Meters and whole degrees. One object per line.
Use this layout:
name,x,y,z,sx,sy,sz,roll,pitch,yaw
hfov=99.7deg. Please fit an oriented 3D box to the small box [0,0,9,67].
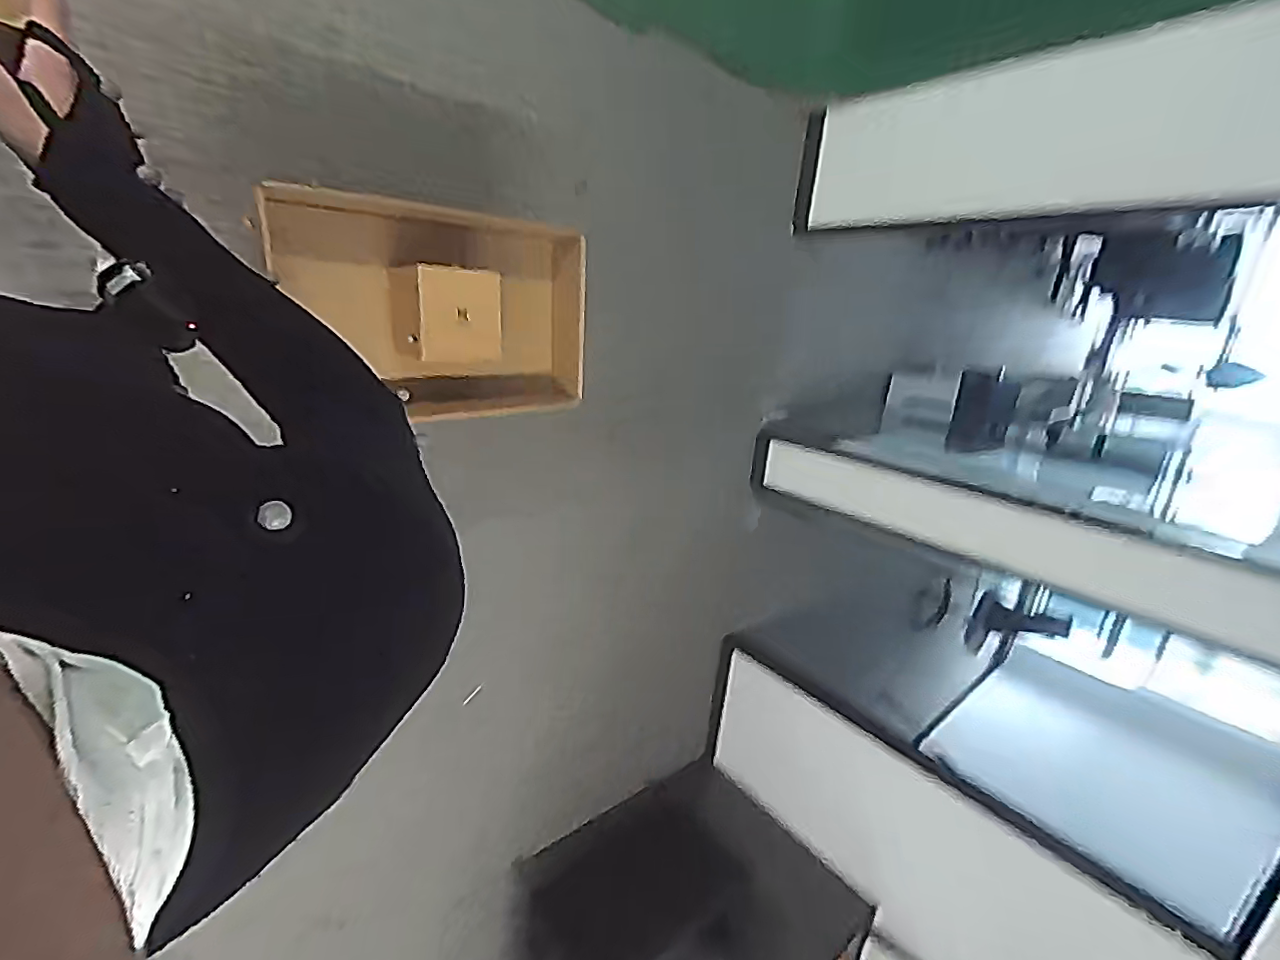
small box,-0.542,-0.410,0.349,0.168,0.176,0.179,-9,108,-50

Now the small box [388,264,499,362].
small box,-0.403,-0.340,1.106,0.168,0.176,0.179,-11,114,-40
